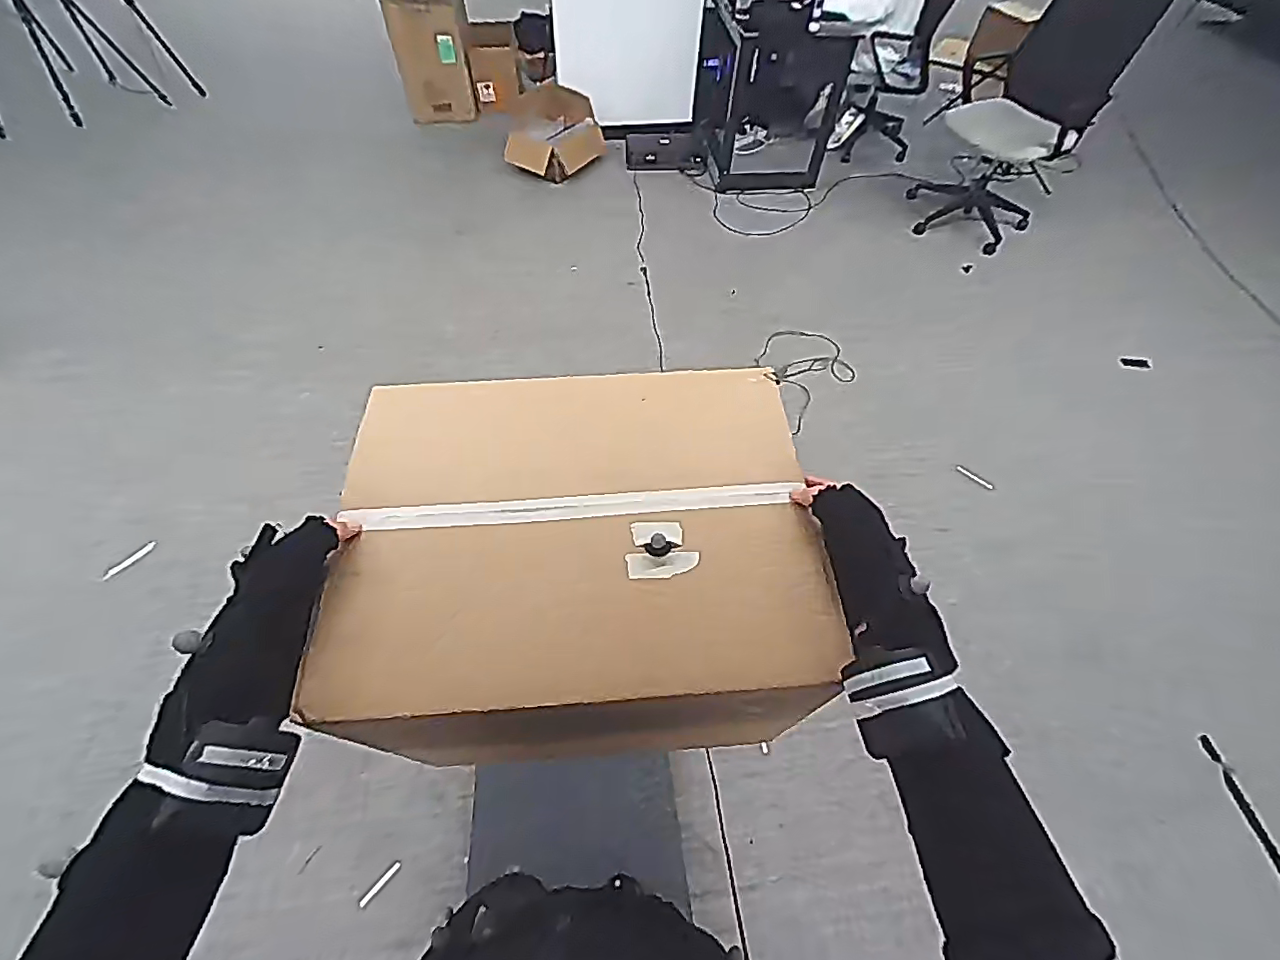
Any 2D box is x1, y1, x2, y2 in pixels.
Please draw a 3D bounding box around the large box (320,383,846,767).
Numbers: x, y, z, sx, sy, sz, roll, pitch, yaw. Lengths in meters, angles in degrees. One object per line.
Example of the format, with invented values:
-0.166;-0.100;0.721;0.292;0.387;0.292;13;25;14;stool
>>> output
-0.052;0.117;0.607;0.408;0.320;0.320;-3;57;-3;large box
